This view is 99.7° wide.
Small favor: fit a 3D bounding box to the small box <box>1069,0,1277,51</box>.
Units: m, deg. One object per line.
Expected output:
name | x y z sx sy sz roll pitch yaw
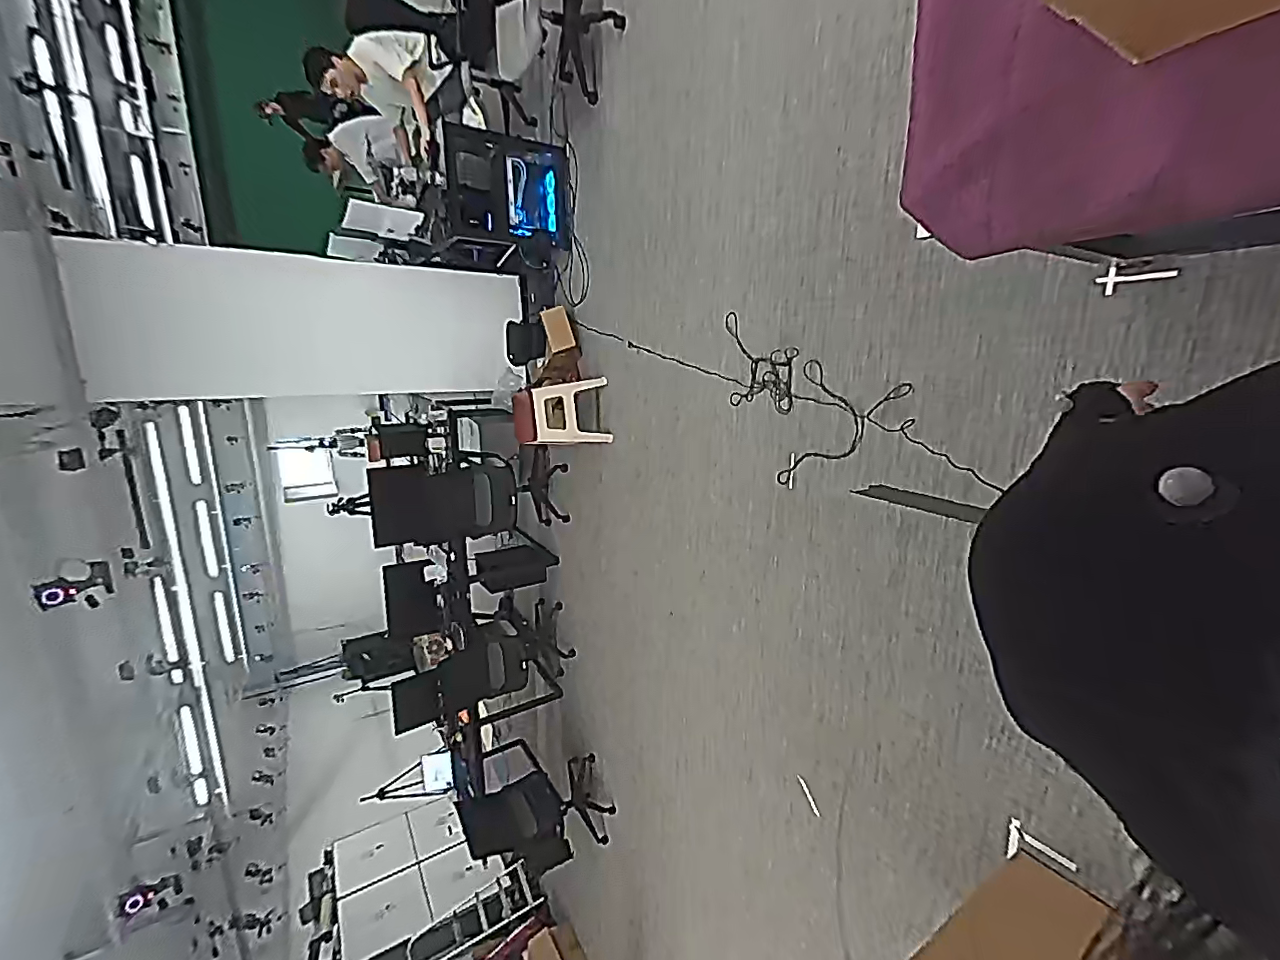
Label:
small box | 0.516 -0.520 0.465 0.179 0.176 0.168 14 108 56
